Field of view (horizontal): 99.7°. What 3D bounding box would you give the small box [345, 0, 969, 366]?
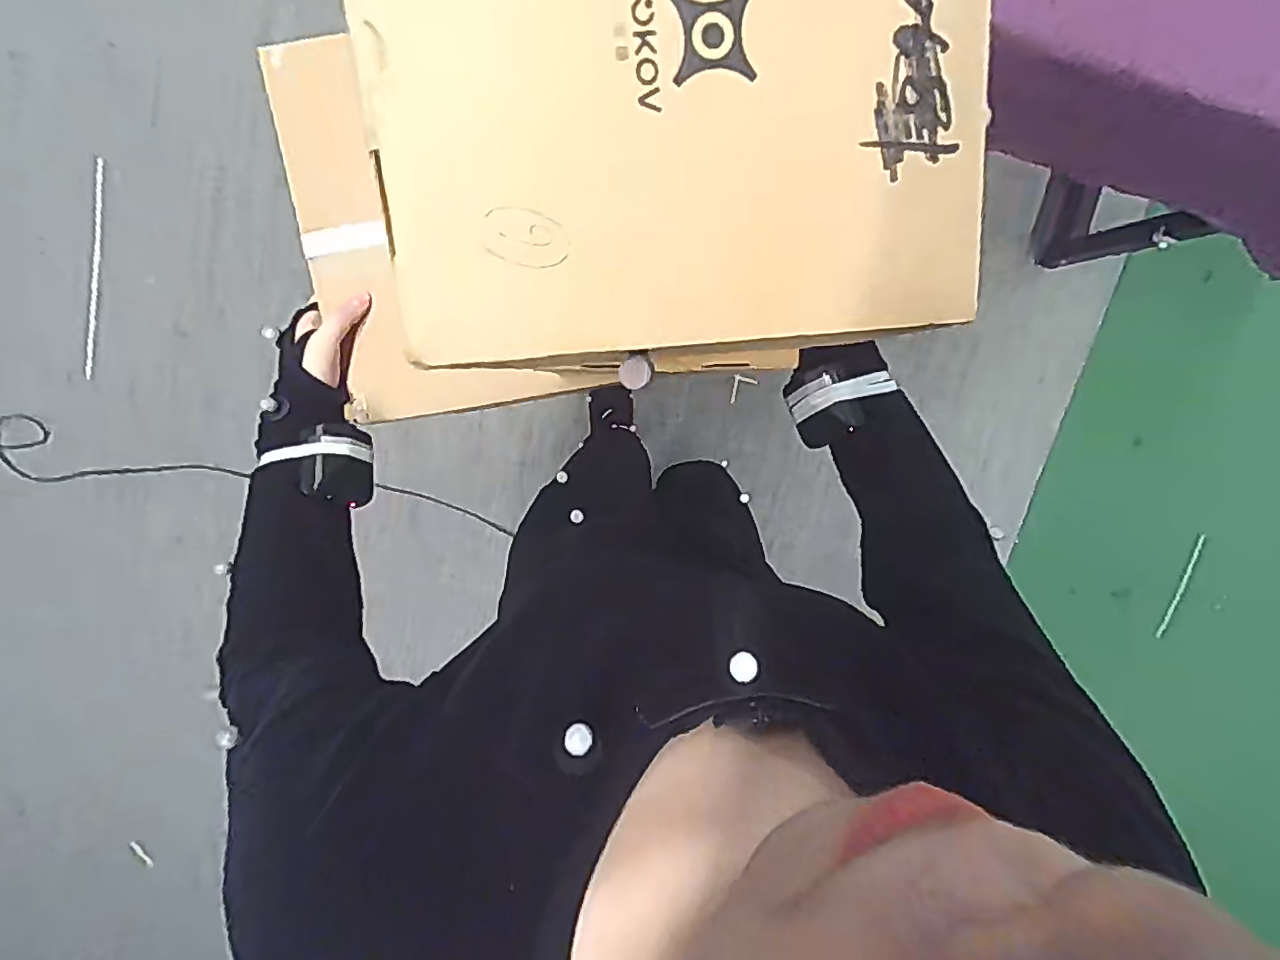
[{"bbox_3d":[0.004,-0.137,0.230,0.179,0.176,0.168,-5,103,-1],"label":"small box"}]
